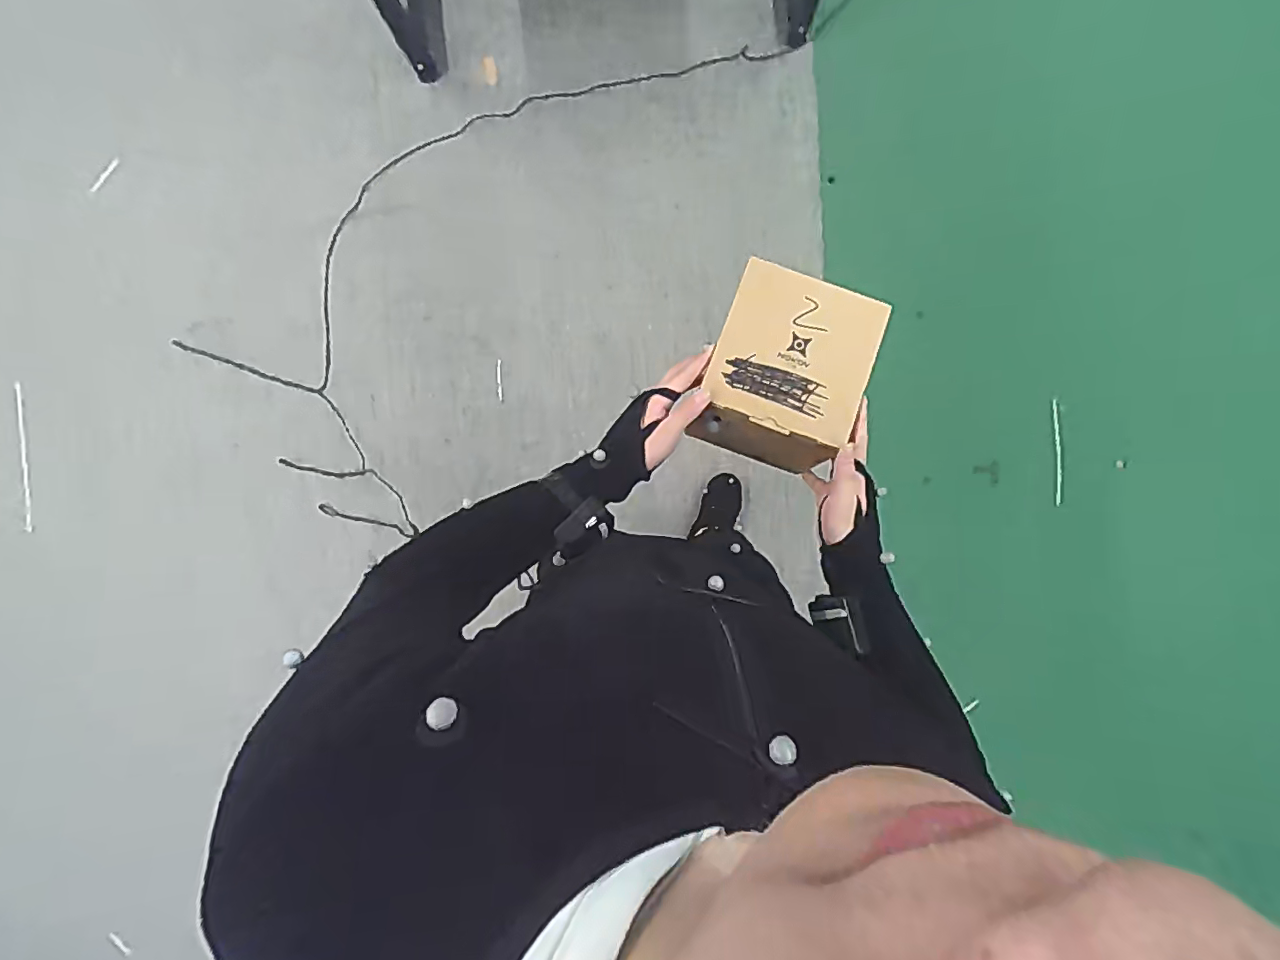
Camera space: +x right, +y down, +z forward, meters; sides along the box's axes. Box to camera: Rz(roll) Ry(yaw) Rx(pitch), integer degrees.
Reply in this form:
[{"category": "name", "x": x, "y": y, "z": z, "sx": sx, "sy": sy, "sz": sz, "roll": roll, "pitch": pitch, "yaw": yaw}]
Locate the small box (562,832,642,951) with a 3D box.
[{"category": "small box", "x": -0.087, "y": 1.000, "z": 1.327, "sx": 0.179, "sy": 0.176, "sz": 0.168, "roll": 3, "pitch": 90, "yaw": 3}]
